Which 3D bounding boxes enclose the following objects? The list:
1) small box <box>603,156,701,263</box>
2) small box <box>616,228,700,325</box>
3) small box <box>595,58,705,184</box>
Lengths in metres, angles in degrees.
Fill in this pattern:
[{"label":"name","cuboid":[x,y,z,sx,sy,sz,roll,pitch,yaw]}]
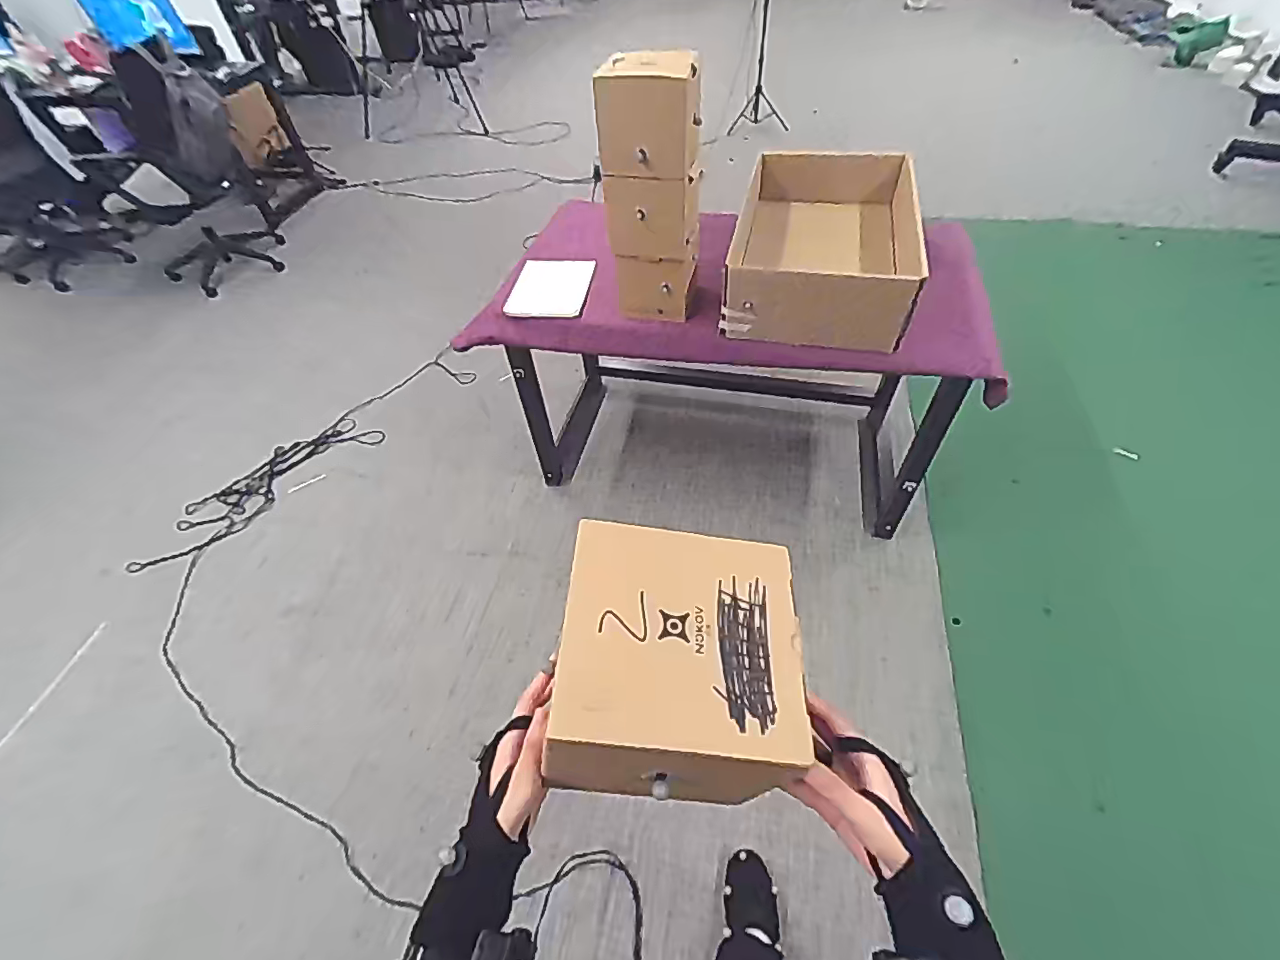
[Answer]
[{"label":"small box","cuboid":[0.032,-0.597,1.190,0.179,0.176,0.168,9,50,12]},{"label":"small box","cuboid":[0.050,-0.498,1.319,0.168,0.176,0.179,10,50,11]},{"label":"small box","cuboid":[0.023,-0.704,1.065,0.179,0.176,0.168,10,50,11]}]
